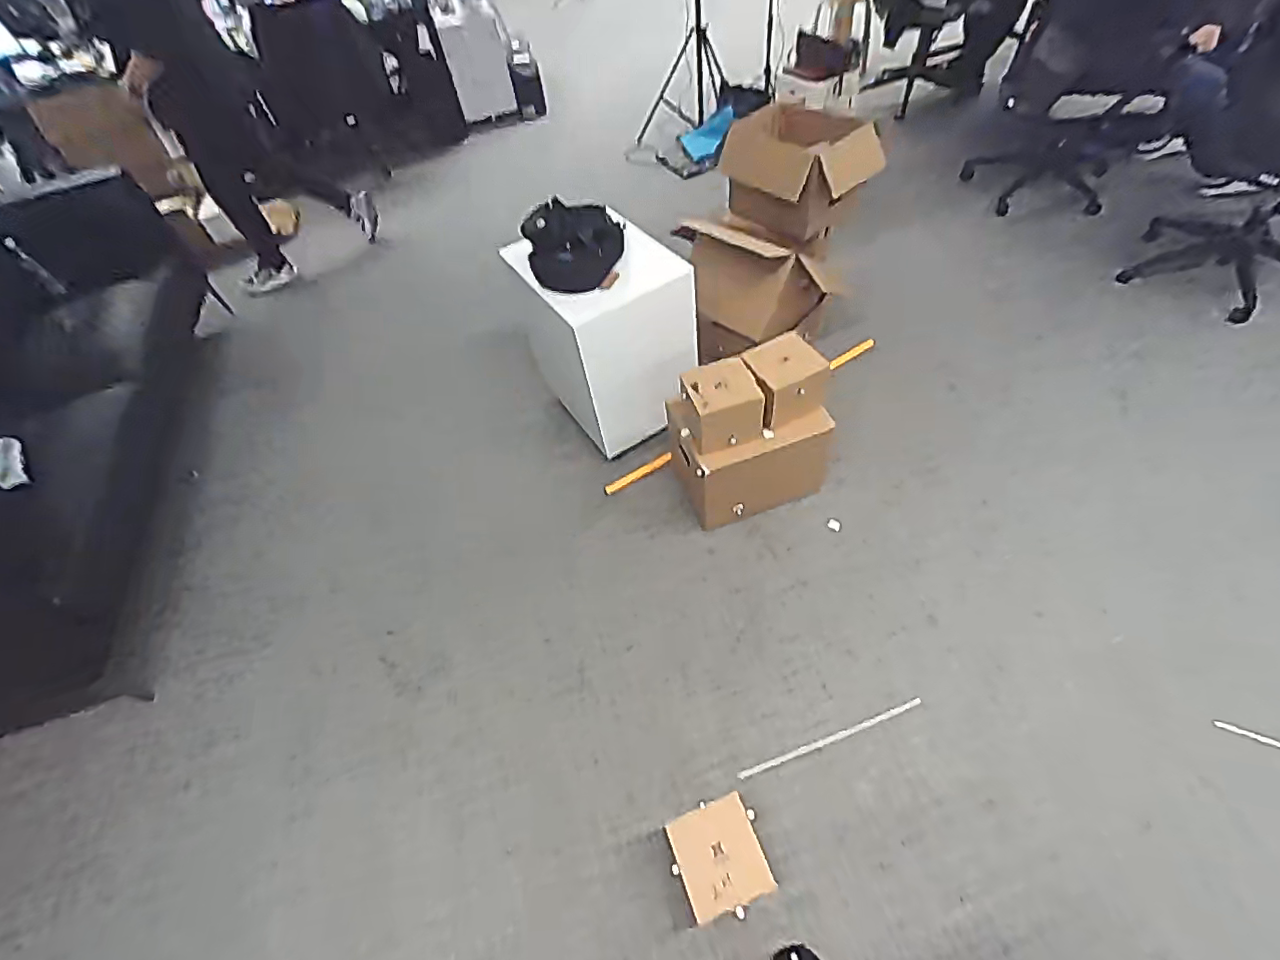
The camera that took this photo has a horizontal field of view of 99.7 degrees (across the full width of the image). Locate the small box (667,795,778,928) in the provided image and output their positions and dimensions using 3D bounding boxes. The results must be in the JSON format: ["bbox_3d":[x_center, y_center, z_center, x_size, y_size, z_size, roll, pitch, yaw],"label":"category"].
[{"bbox_3d":[0.166,0.788,1.118,0.168,0.176,0.179,-20,53,-6],"label":"small box"}]
